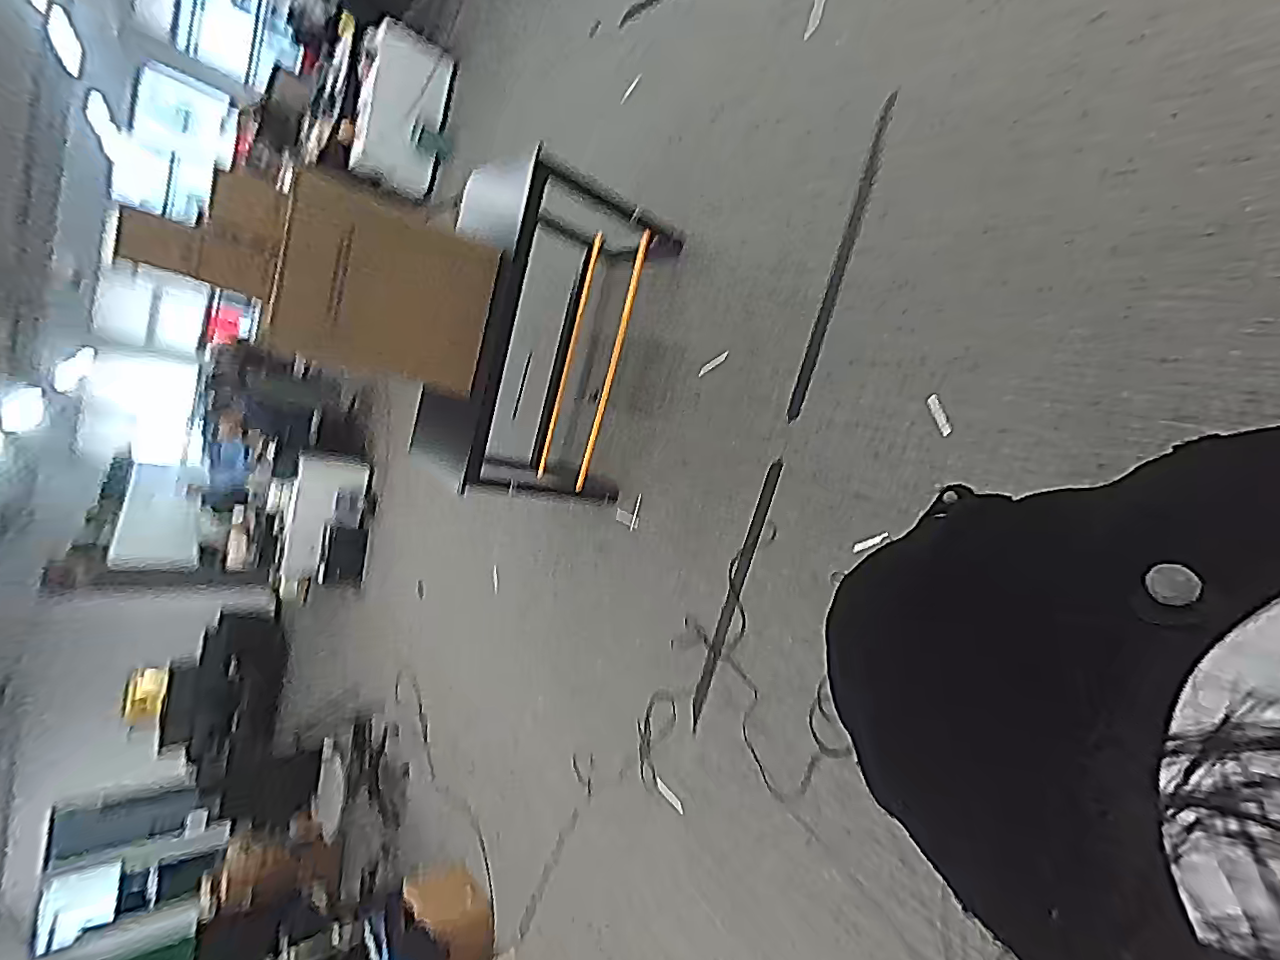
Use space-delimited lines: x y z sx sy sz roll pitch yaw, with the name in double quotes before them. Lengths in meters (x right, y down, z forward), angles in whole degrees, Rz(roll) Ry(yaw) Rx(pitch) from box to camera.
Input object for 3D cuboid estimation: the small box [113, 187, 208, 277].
"small box" -1.279 -0.655 1.447 0.179 0.176 0.168 23 102 45
